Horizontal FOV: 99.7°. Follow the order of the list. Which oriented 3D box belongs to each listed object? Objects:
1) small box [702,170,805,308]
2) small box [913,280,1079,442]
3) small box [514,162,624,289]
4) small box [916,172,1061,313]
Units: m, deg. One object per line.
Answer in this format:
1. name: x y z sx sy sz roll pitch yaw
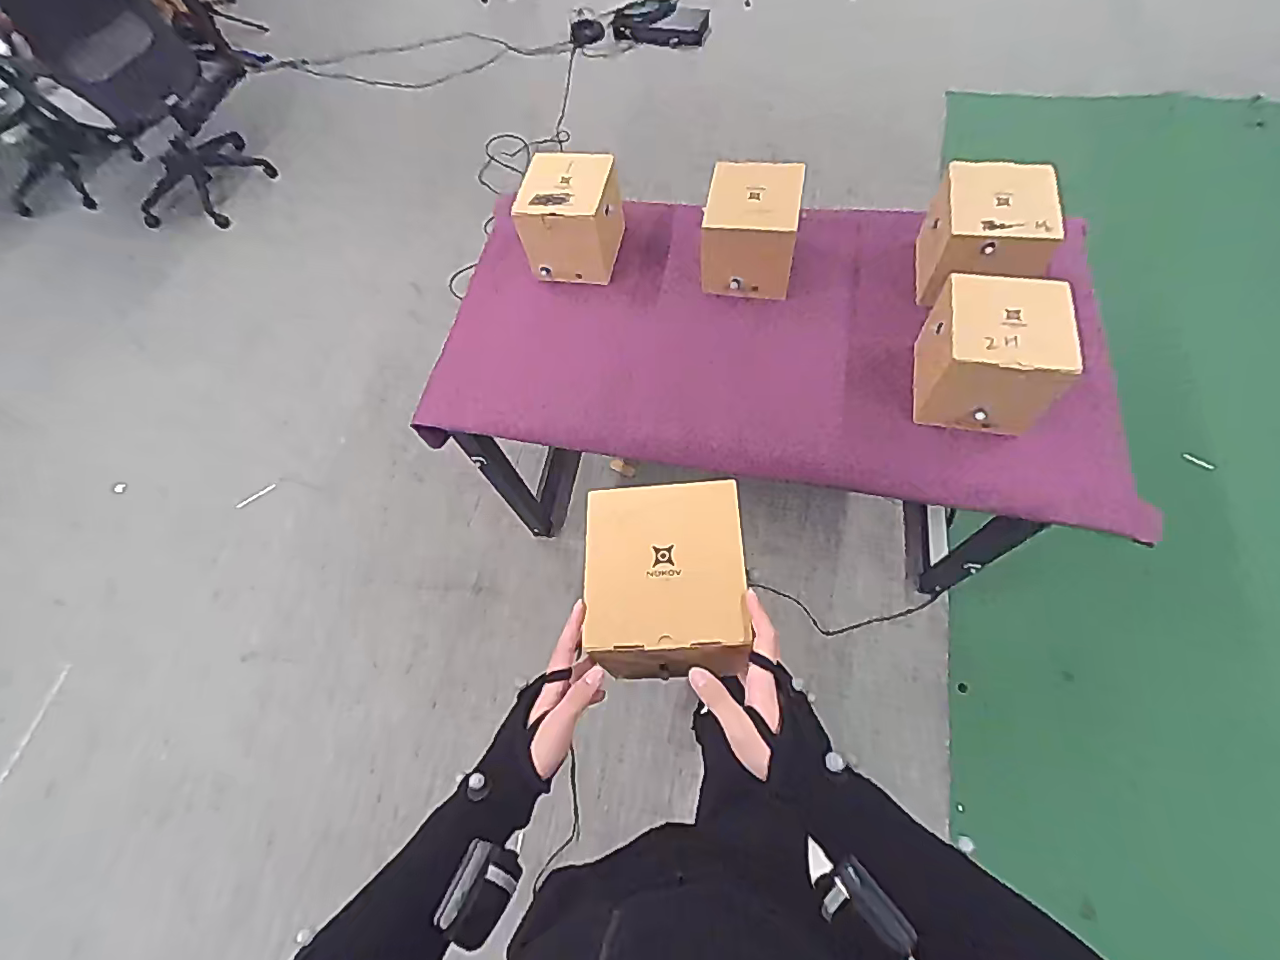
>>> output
1. small box: 0.214 -0.461 1.040 0.168 0.176 0.179 9 66 12
2. small box: 0.548 -0.185 0.858 0.168 0.176 0.179 9 64 13
3. small box: -0.134 -0.515 1.106 0.168 0.176 0.179 8 65 10
4. small box: 0.607 -0.416 0.967 0.168 0.176 0.179 8 65 11
